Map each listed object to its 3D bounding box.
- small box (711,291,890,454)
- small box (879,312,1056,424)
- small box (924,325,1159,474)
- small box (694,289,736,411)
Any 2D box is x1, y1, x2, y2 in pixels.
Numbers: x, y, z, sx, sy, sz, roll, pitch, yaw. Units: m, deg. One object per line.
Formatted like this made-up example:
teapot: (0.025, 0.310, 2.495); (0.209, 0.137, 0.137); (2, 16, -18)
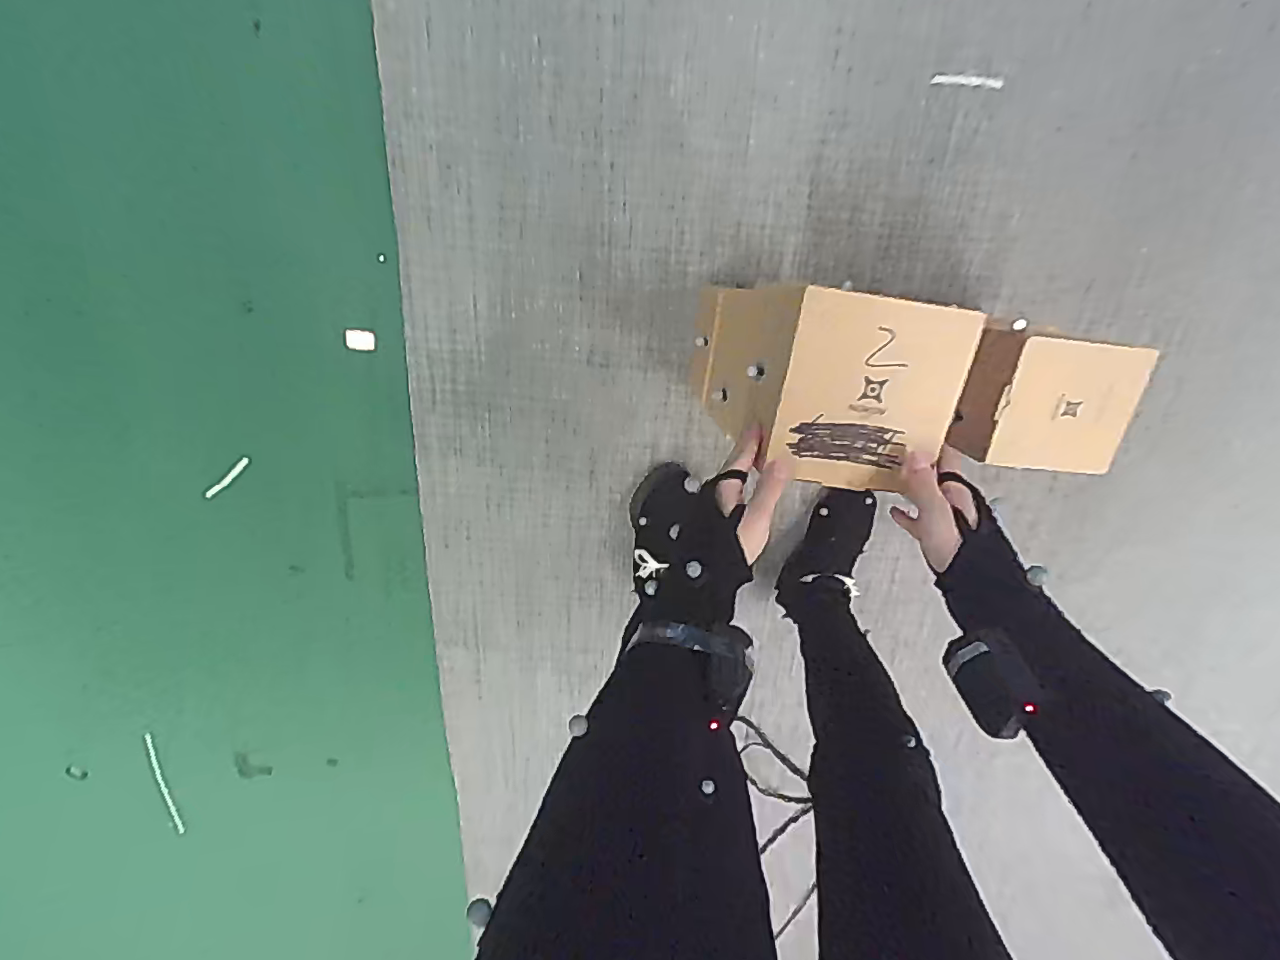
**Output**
small box: (0.197, -0.150, 0.726); (0.168, 0.176, 0.179); (6, 110, -5)
small box: (0.527, -0.187, 0.901); (0.179, 0.176, 0.168); (2, 111, -2)
small box: (0.533, -0.119, 0.752); (0.179, 0.176, 0.168); (4, 111, -4)
small box: (0.185, -0.209, 0.880); (0.168, 0.176, 0.179); (5, 110, -4)
